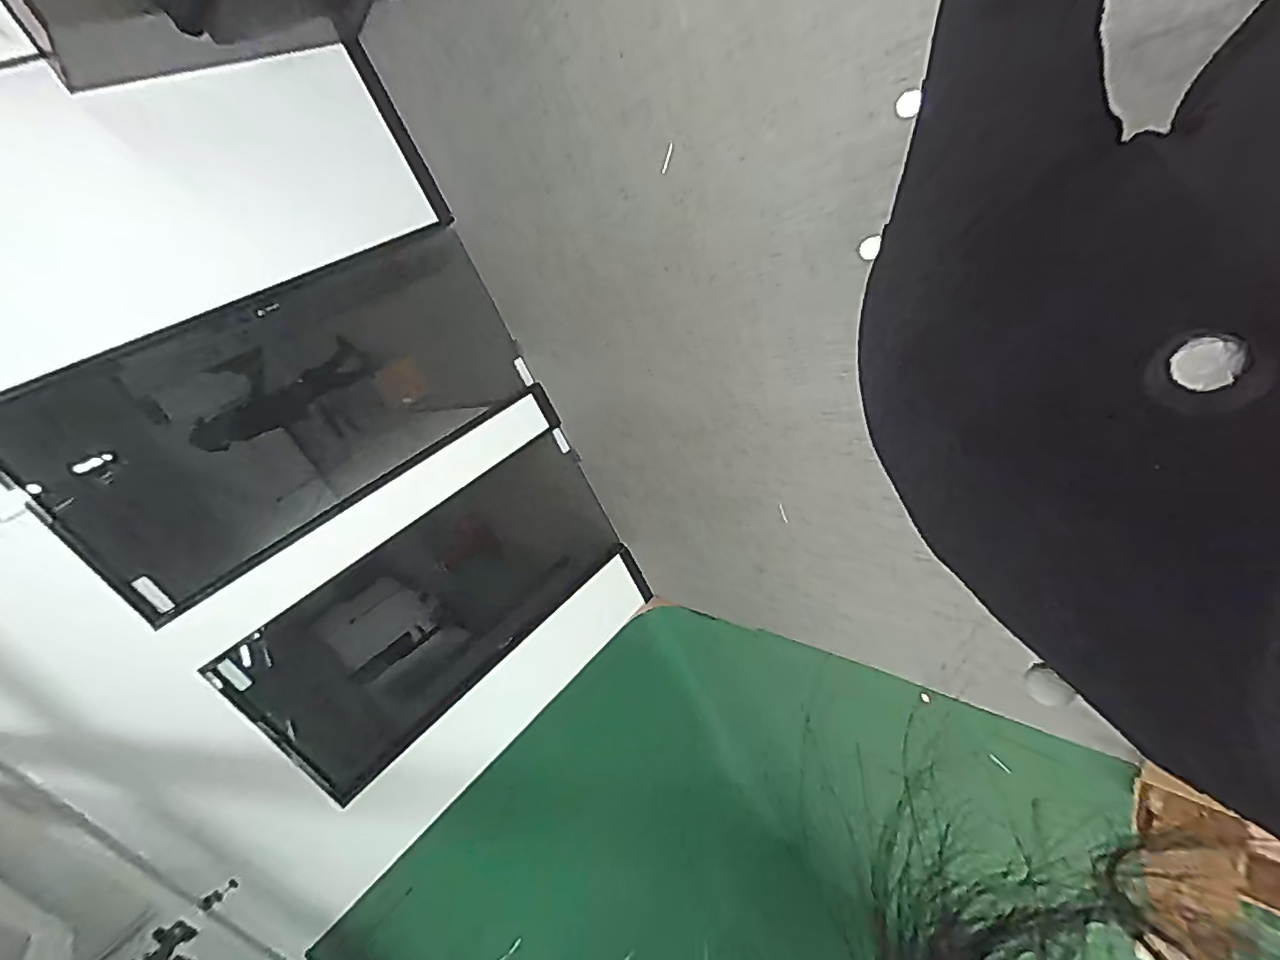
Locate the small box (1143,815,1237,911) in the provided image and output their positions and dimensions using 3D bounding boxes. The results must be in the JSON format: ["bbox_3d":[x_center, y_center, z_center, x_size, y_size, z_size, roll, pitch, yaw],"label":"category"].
[{"bbox_3d":[1.577,1.116,1.551,0.179,0.176,0.168,7,127,50],"label":"small box"}]

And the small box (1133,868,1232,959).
[{"bbox_3d":[1.473,1.214,1.469,0.168,0.176,0.179,12,130,47],"label":"small box"}]
